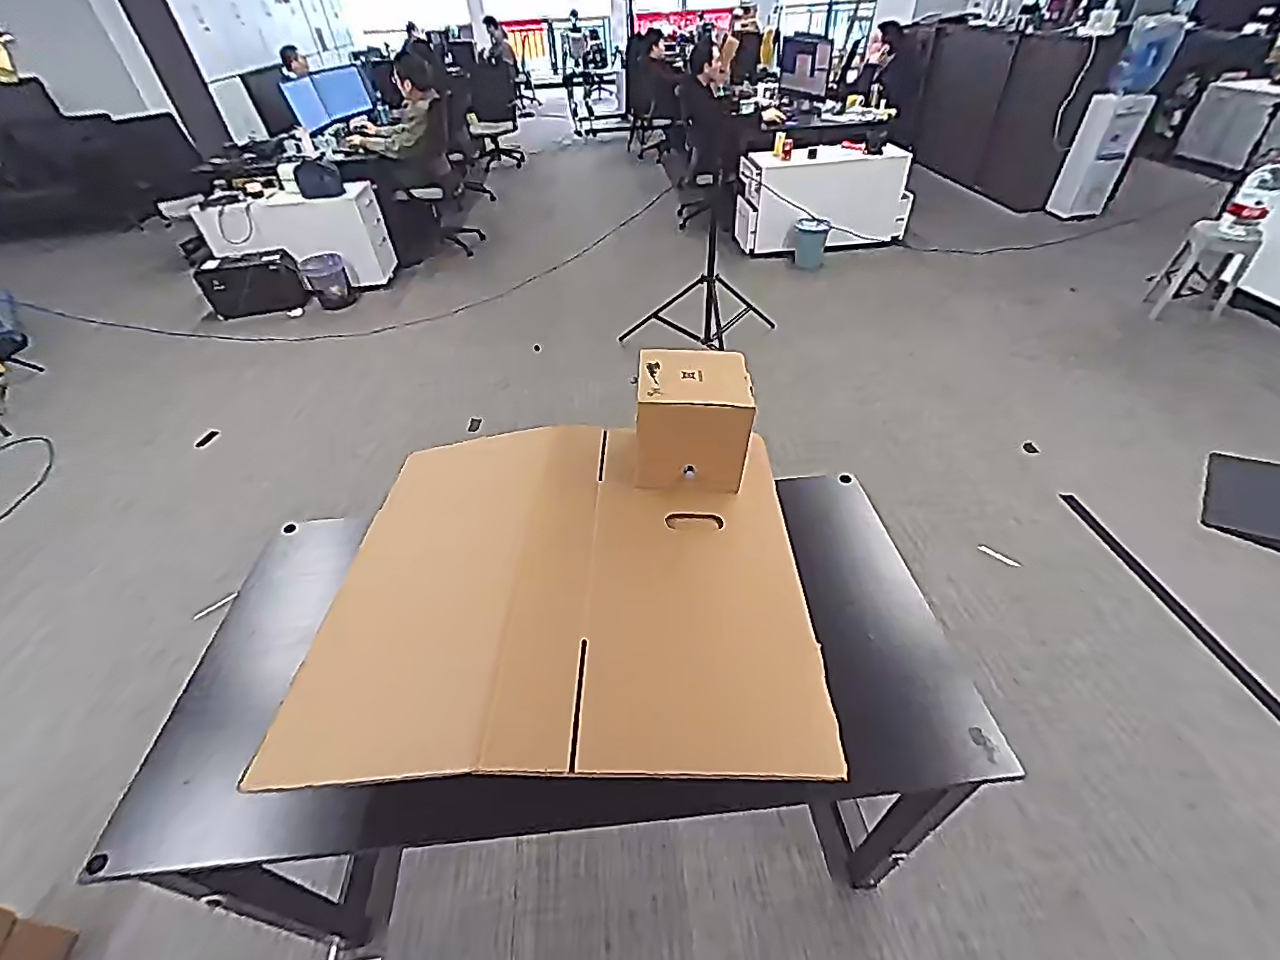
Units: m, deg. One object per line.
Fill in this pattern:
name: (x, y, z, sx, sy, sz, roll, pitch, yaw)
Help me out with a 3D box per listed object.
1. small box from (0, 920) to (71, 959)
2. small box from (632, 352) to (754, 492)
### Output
small box: (-1.331, 1.029, 1.093, 0.168, 0.176, 0.179, -8, 43, -5)
small box: (0.080, -0.095, 0.905, 0.179, 0.176, 0.168, 3, 40, 0)
